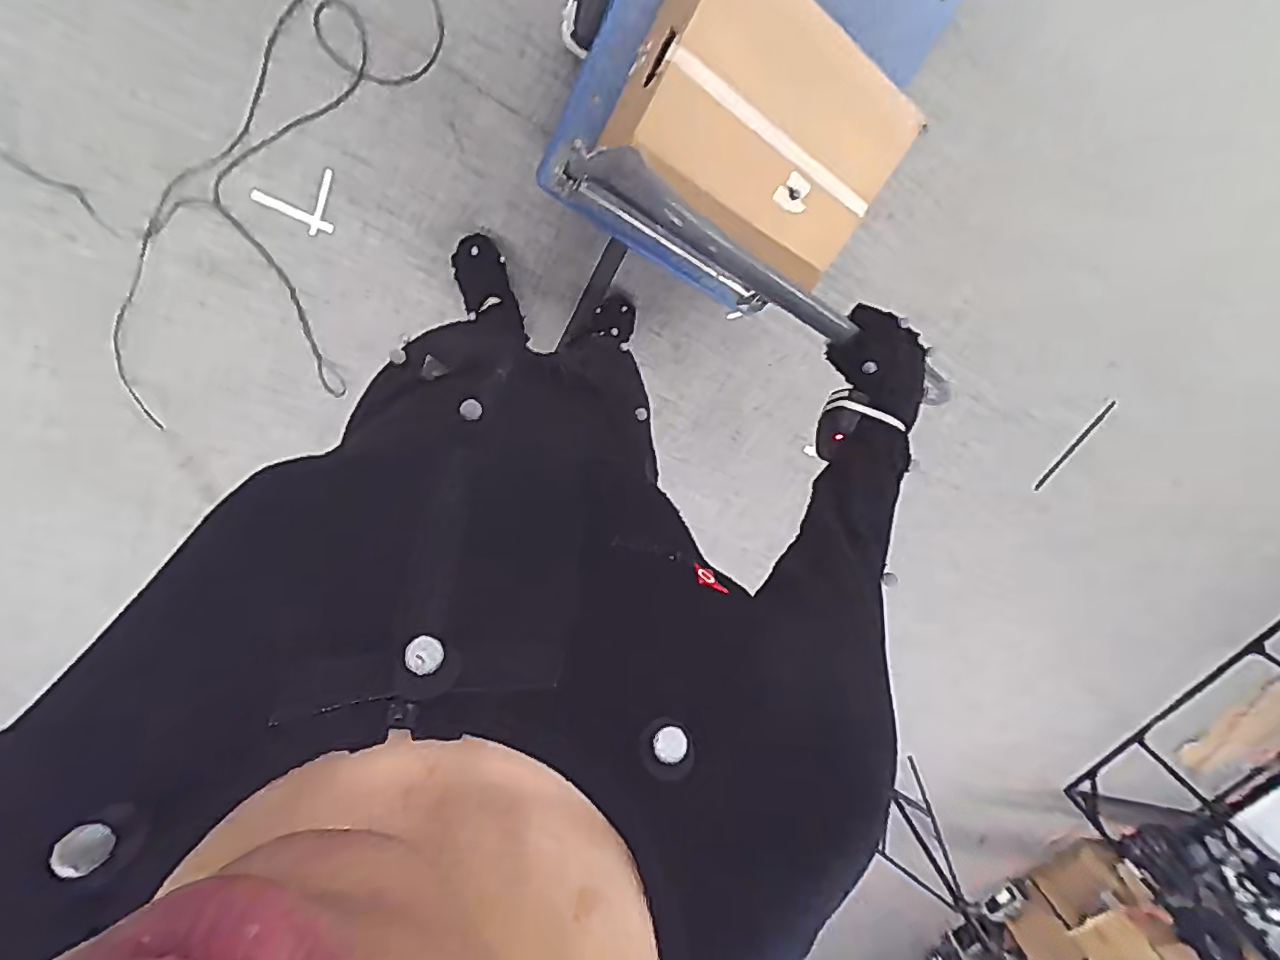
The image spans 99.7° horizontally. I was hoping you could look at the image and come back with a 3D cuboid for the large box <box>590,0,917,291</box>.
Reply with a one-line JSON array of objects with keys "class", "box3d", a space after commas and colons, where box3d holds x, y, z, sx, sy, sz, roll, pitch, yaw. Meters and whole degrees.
[{"class": "large box", "box3d": [0.171, -0.598, 0.957, 0.408, 0.320, 0.320, 22, 114, -26]}]
